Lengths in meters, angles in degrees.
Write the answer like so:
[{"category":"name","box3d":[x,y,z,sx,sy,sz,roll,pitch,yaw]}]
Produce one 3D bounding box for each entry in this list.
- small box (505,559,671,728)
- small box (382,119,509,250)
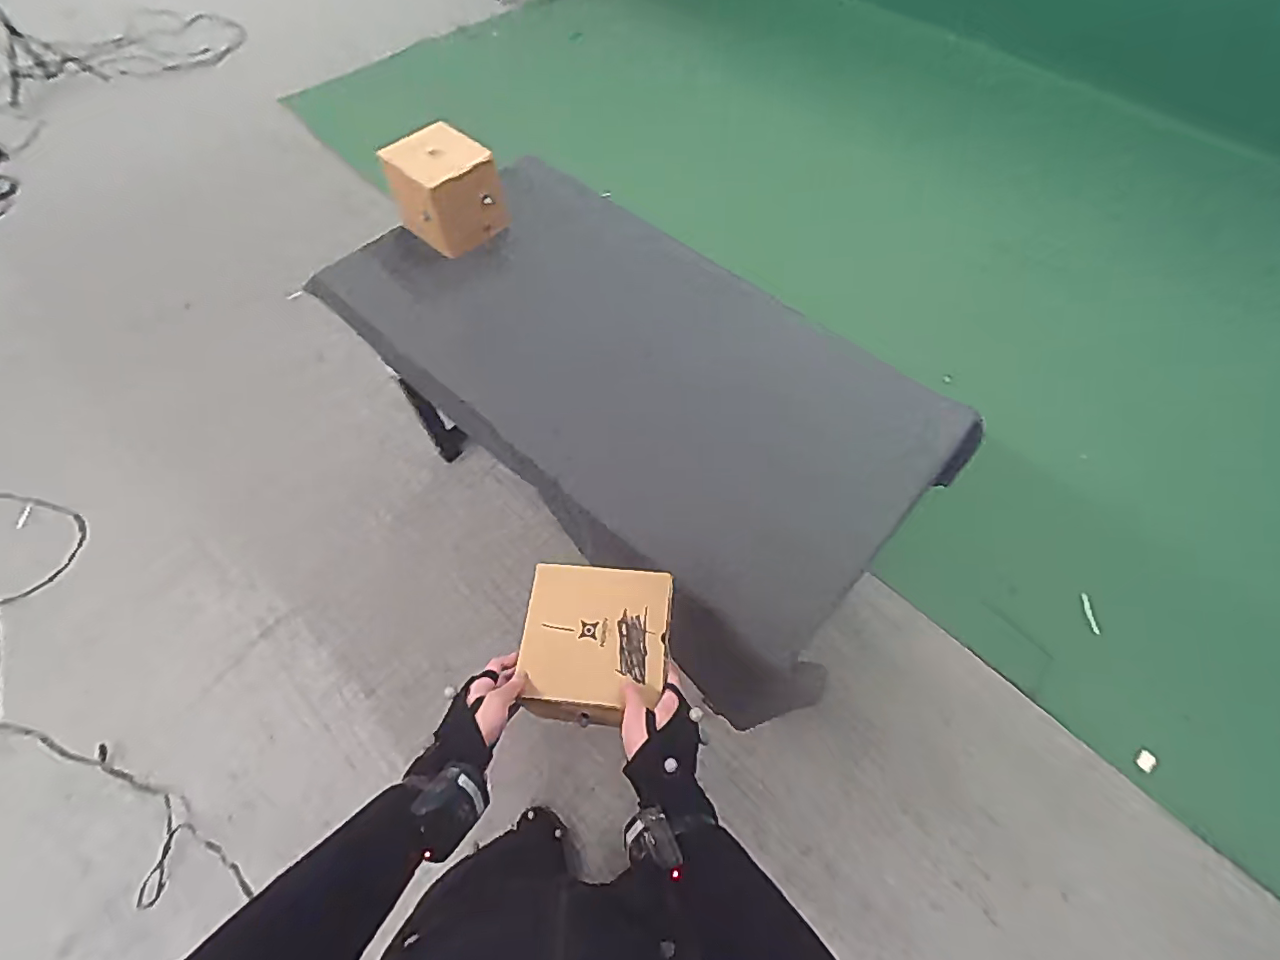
[{"category":"small box","box3d":[-0.056,0.218,0.702,0.179,0.176,0.168,4,58,3]},{"category":"small box","box3d":[-0.402,-0.620,1.151,0.179,0.176,0.168,39,64,19]}]
